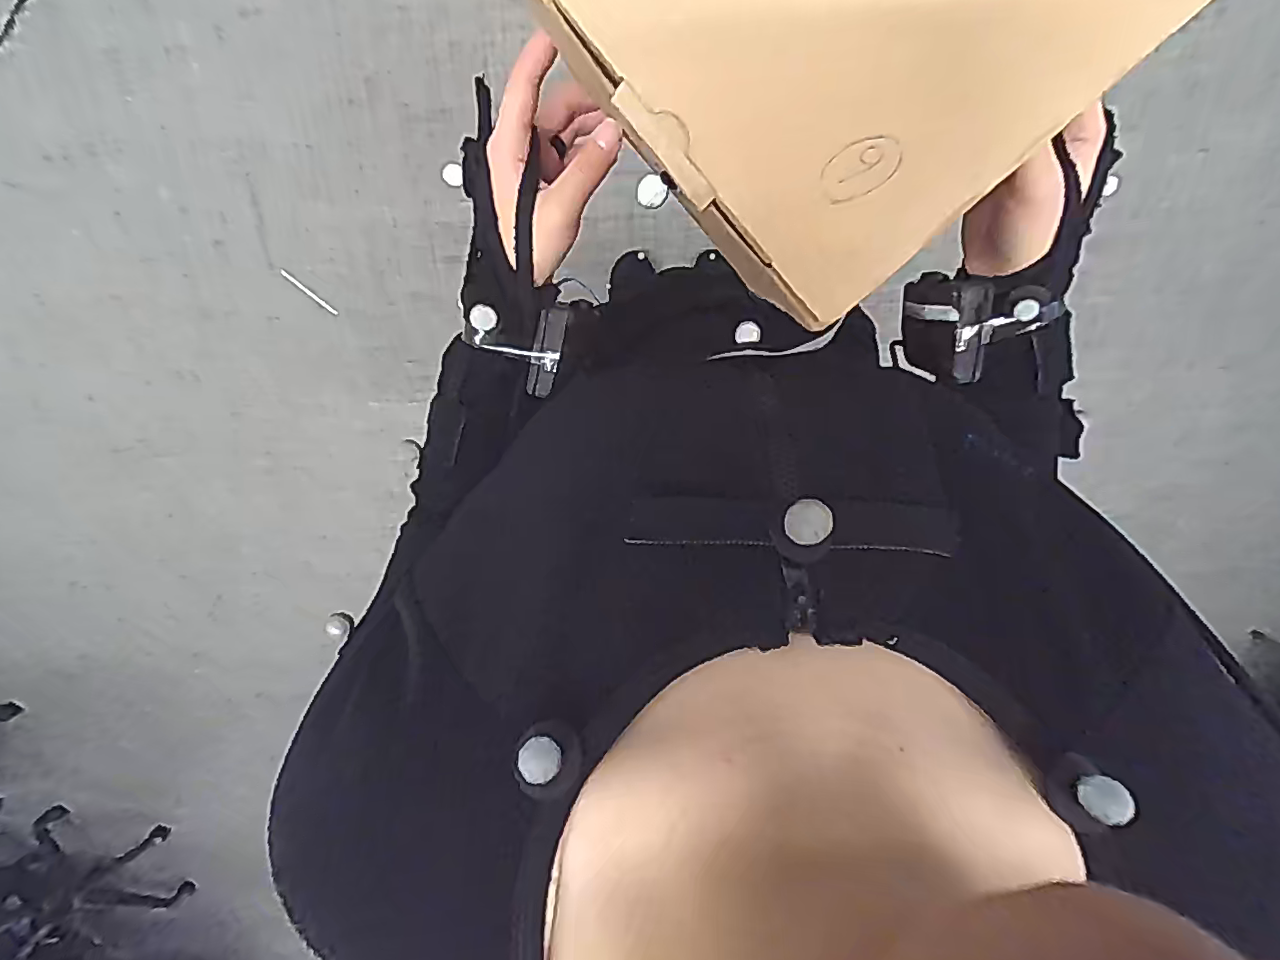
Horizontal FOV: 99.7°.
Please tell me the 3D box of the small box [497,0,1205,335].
[{"bbox_3d":[0.071,-0.190,0.224,0.179,0.176,0.168,-41,105,19],"label":"small box"}]
